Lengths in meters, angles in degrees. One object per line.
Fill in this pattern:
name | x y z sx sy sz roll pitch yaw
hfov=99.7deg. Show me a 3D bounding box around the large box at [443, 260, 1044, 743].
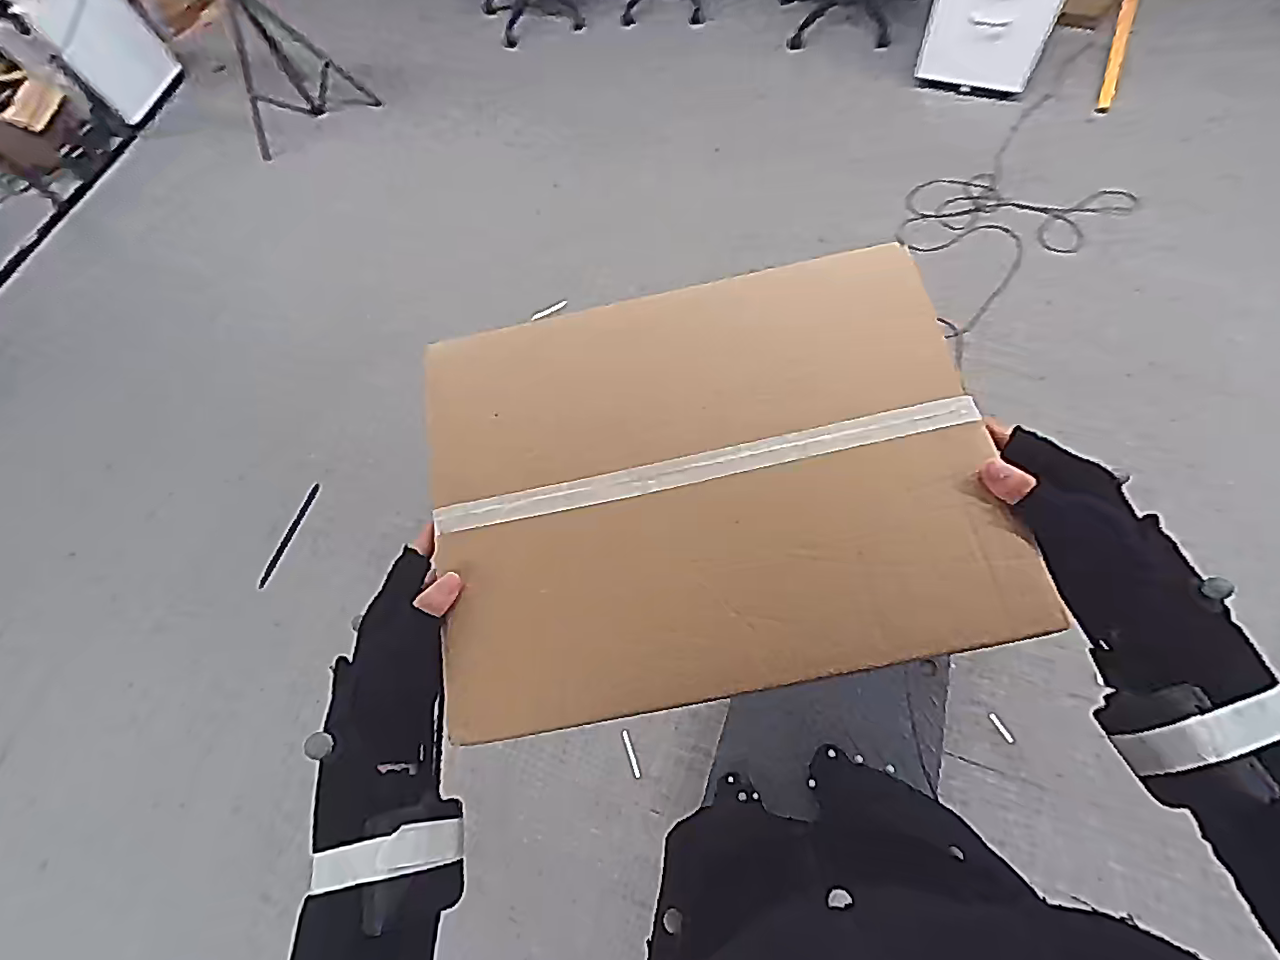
large box | 0.067 0.042 0.552 0.408 0.320 0.320 -12 70 3
